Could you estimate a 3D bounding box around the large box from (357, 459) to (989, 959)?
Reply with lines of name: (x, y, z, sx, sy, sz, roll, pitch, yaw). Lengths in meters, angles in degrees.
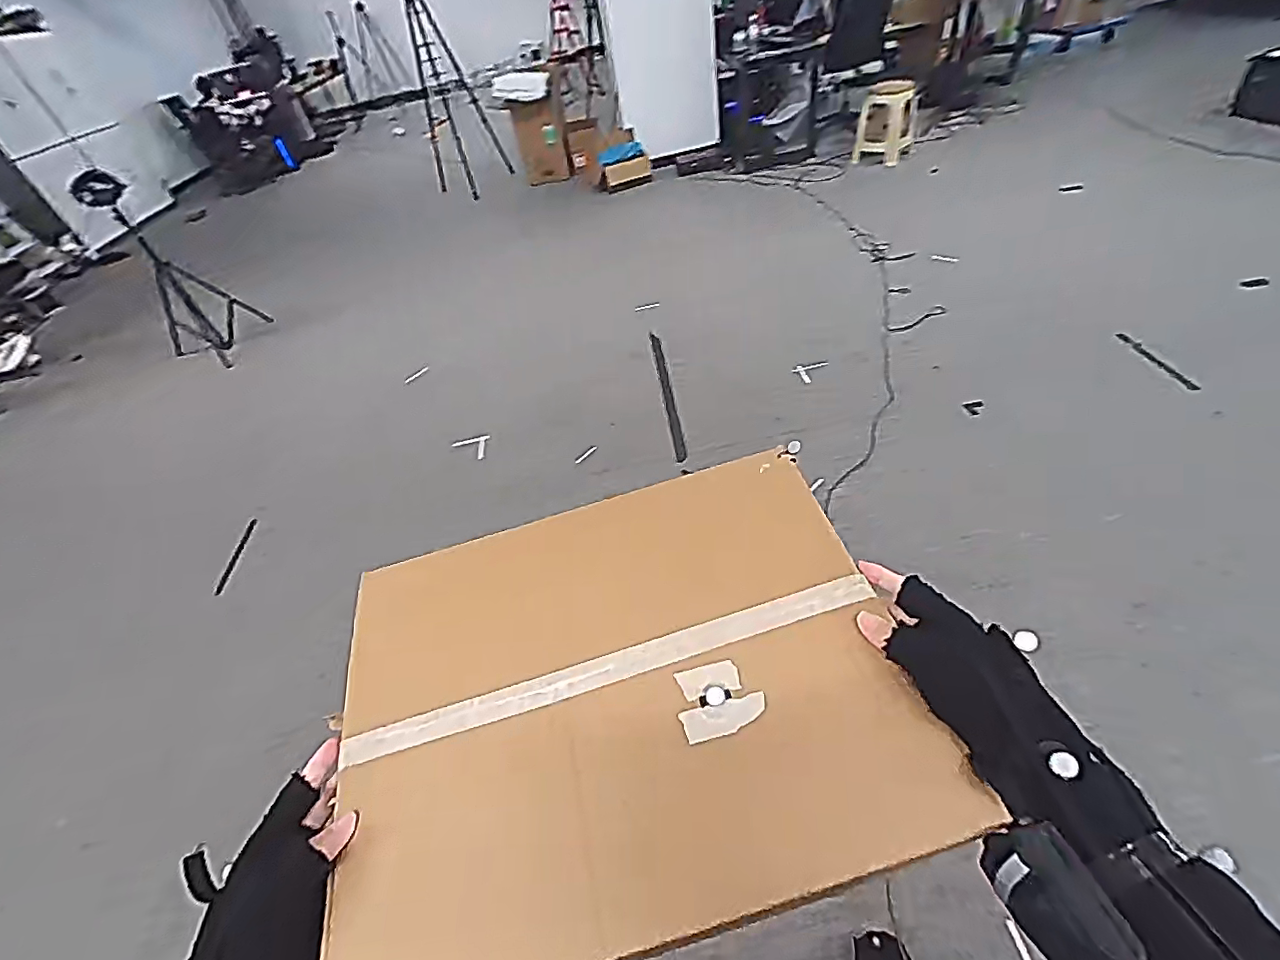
large box: (0.010, 0.239, 0.525, 0.408, 0.320, 0.320, -16, 50, -3)
